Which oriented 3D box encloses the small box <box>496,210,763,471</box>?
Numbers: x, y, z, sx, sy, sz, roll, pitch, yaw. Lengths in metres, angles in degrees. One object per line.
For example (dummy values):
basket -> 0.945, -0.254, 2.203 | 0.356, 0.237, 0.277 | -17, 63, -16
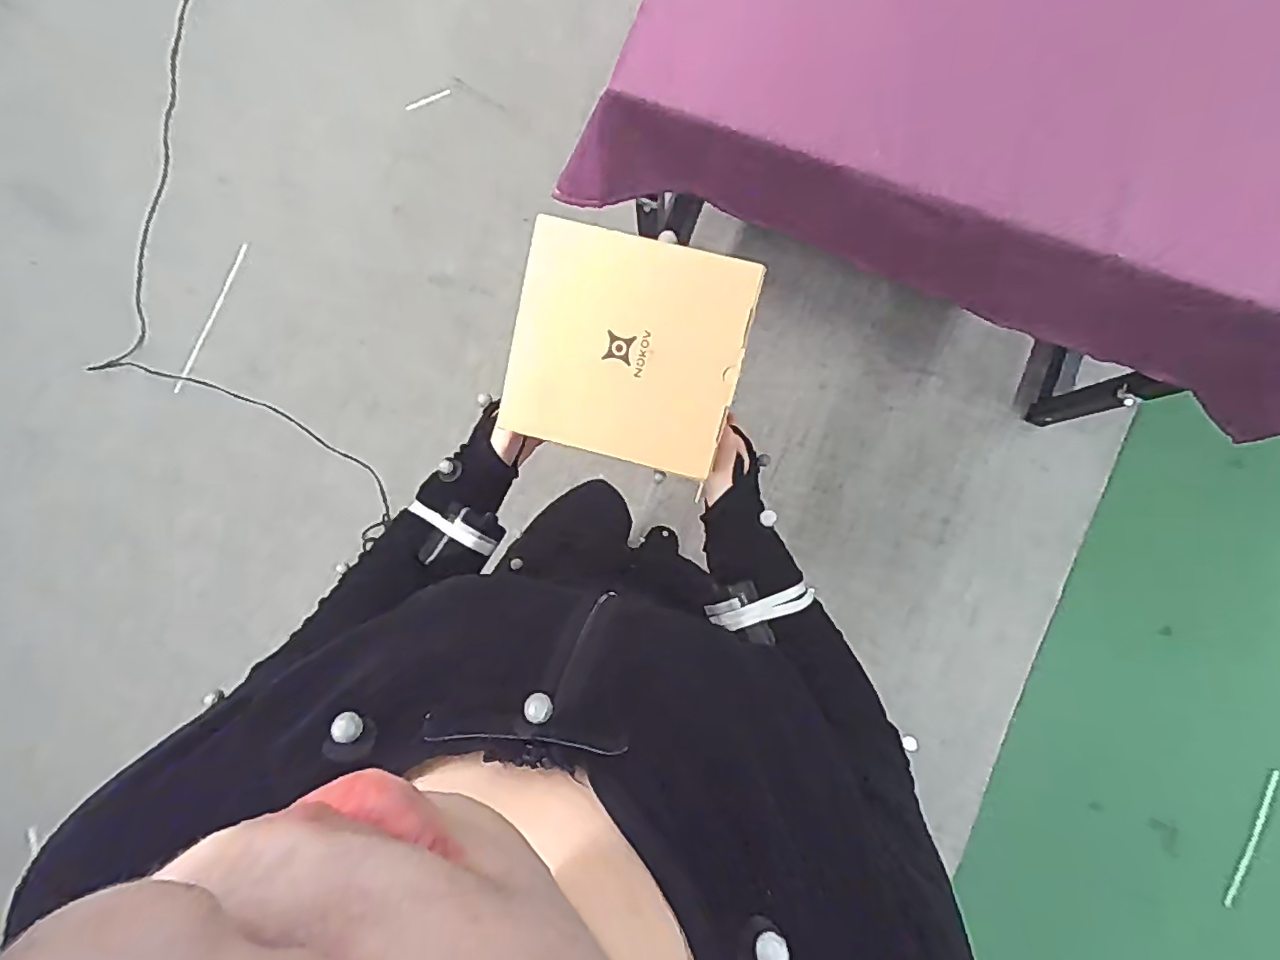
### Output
small box -> -0.005, -0.115, 0.490 | 0.179, 0.176, 0.168 | 15, 99, 3
